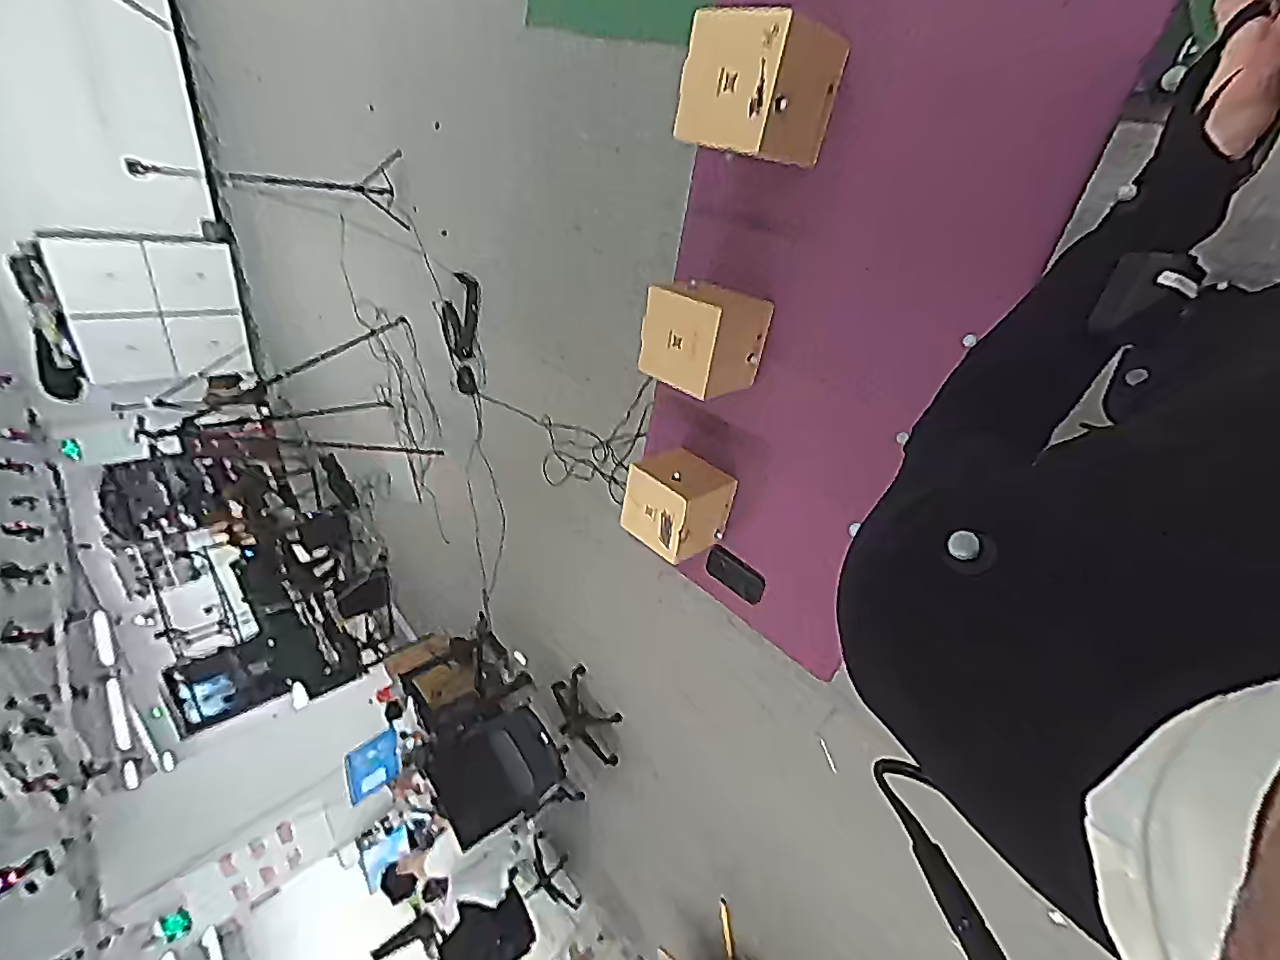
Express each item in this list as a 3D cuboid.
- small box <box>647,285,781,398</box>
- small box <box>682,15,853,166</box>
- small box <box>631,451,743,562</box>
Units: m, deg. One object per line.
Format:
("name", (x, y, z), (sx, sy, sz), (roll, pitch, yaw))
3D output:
("small box", (0.140, -0.275, 1.048), (0.179, 0.176, 0.168), (33, 128, 35))
("small box", (0.197, -0.605, 0.852), (0.179, 0.176, 0.168), (36, 130, 35))
("small box", (0.106, 0.050, 1.213), (0.179, 0.176, 0.168), (34, 128, 36))
